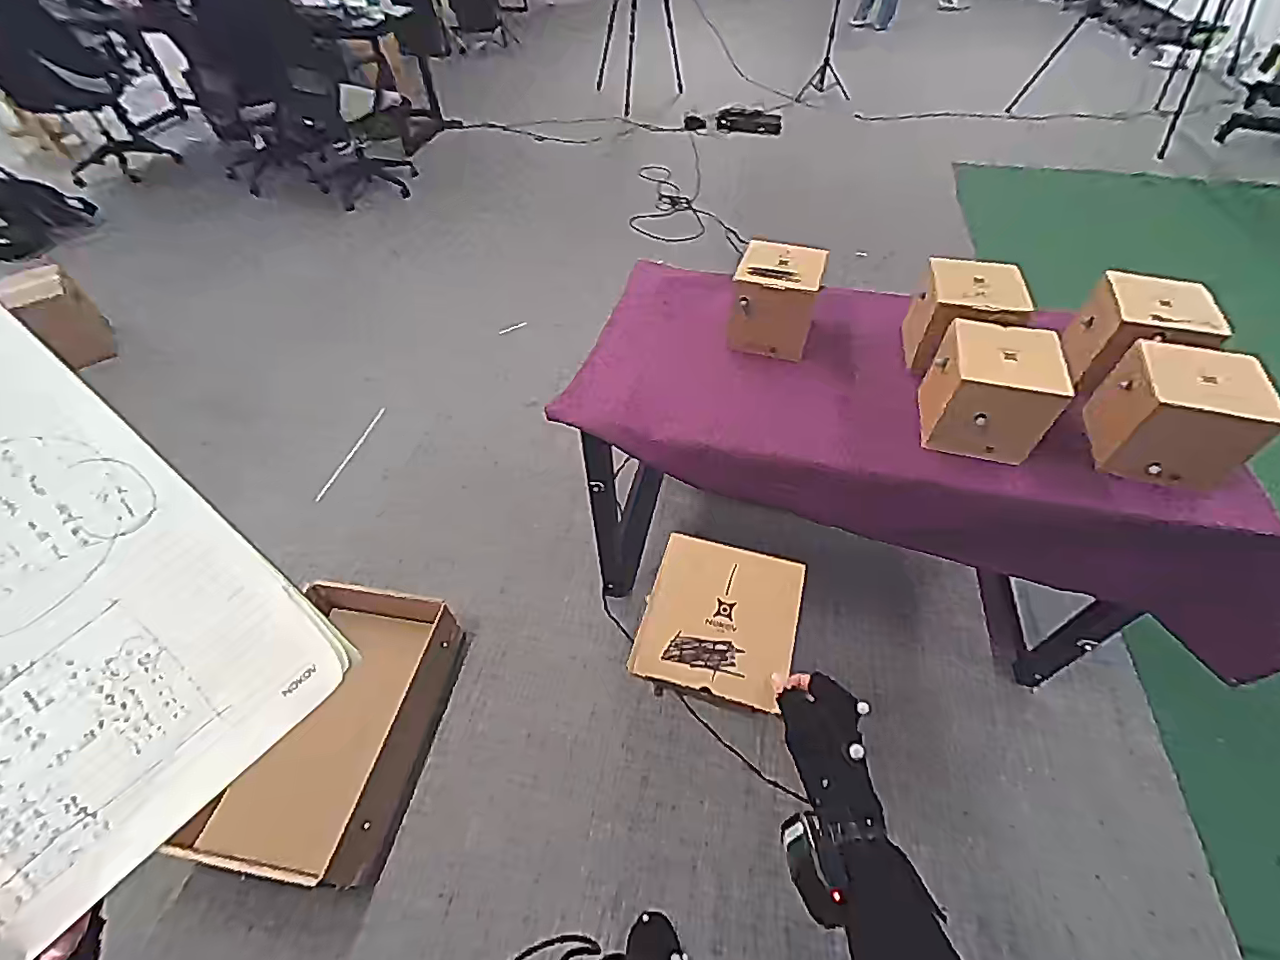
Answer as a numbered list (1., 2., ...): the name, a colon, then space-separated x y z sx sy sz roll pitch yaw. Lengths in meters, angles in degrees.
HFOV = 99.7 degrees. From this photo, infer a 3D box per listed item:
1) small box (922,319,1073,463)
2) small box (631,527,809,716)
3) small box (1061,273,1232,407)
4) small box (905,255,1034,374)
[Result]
1. small box: 0.616 -0.155 0.958 0.168 0.176 0.179 12 52 12
2. small box: 0.103 0.186 0.694 0.168 0.176 0.179 16 69 13
3. small box: 0.956 -0.270 1.045 0.168 0.176 0.179 14 52 13
4. small box: 0.653 -0.326 1.098 0.168 0.176 0.179 11 52 10
